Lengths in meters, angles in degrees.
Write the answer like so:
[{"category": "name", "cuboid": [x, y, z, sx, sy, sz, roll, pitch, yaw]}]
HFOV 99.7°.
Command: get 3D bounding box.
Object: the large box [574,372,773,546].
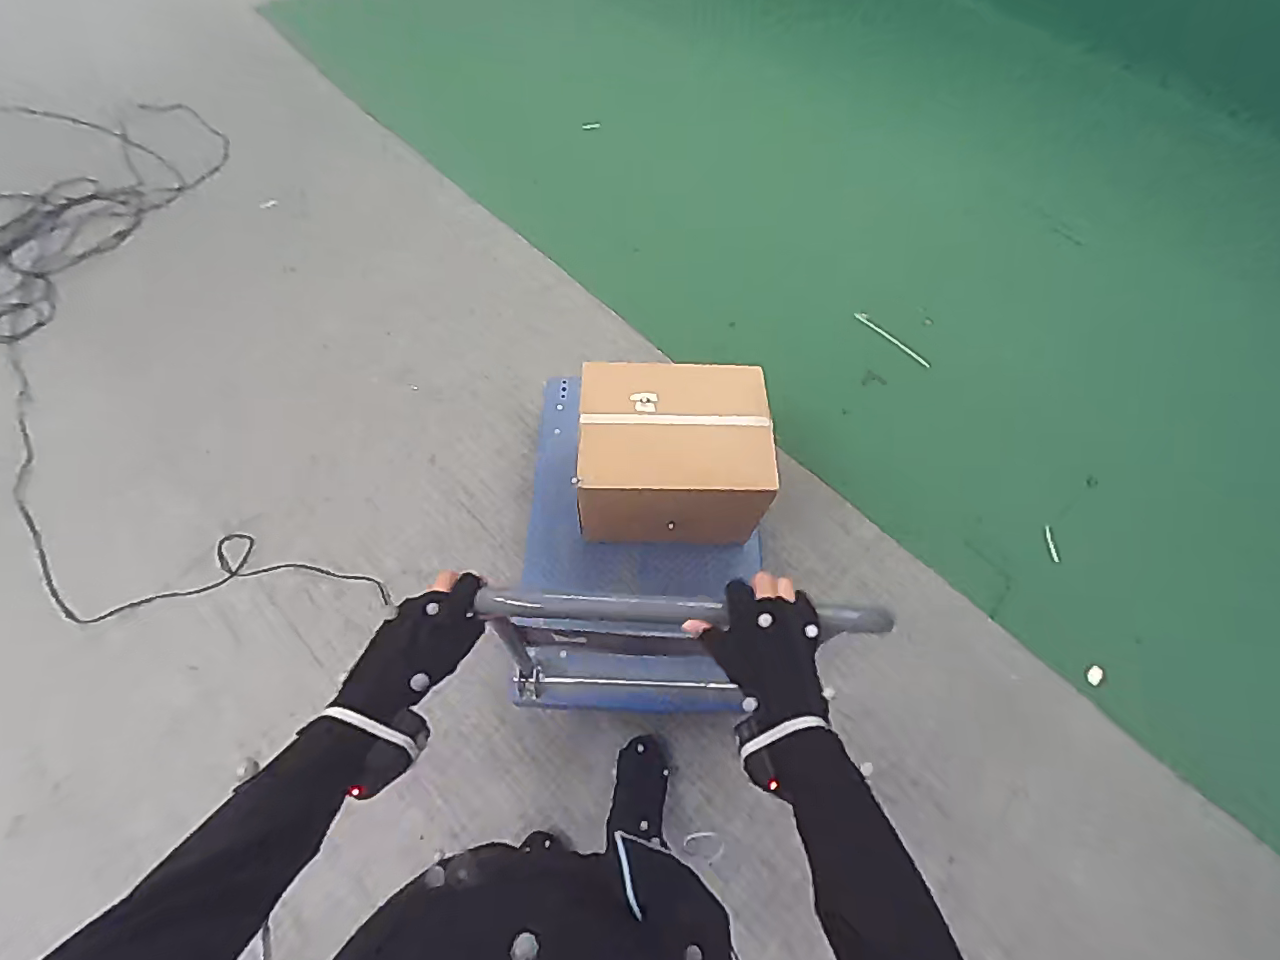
[{"category": "large box", "cuboid": [0.064, -0.037, 1.271, 0.408, 0.320, 0.320, 1, 62, -2]}]
